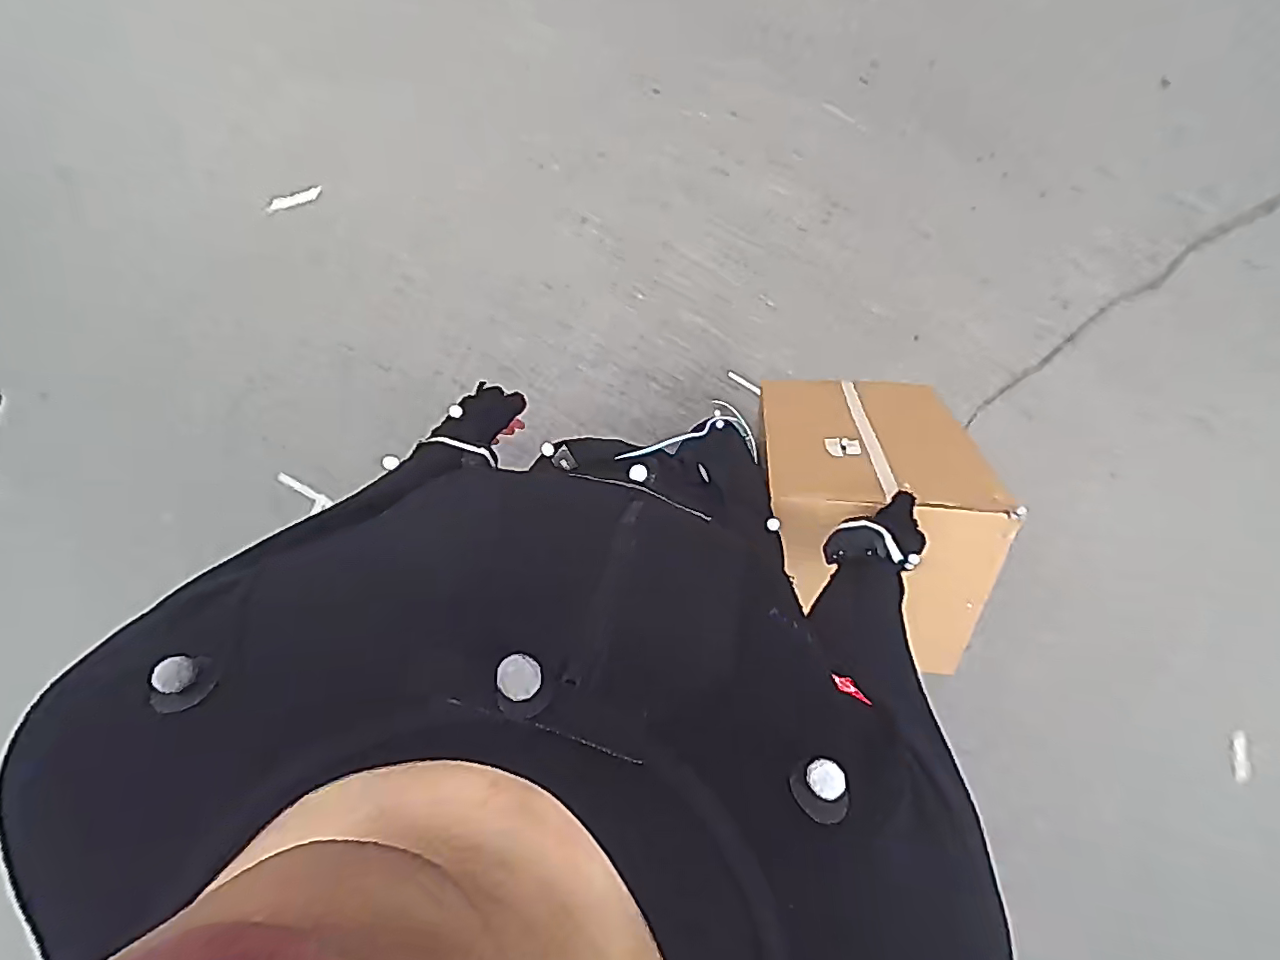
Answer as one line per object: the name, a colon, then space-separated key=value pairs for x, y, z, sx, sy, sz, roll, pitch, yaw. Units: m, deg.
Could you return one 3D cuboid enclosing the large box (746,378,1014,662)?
large box: x=0.359 y=0.048 z=0.954 sx=0.320 sy=0.408 sz=0.320 roll=3 pitch=125 yaw=9
